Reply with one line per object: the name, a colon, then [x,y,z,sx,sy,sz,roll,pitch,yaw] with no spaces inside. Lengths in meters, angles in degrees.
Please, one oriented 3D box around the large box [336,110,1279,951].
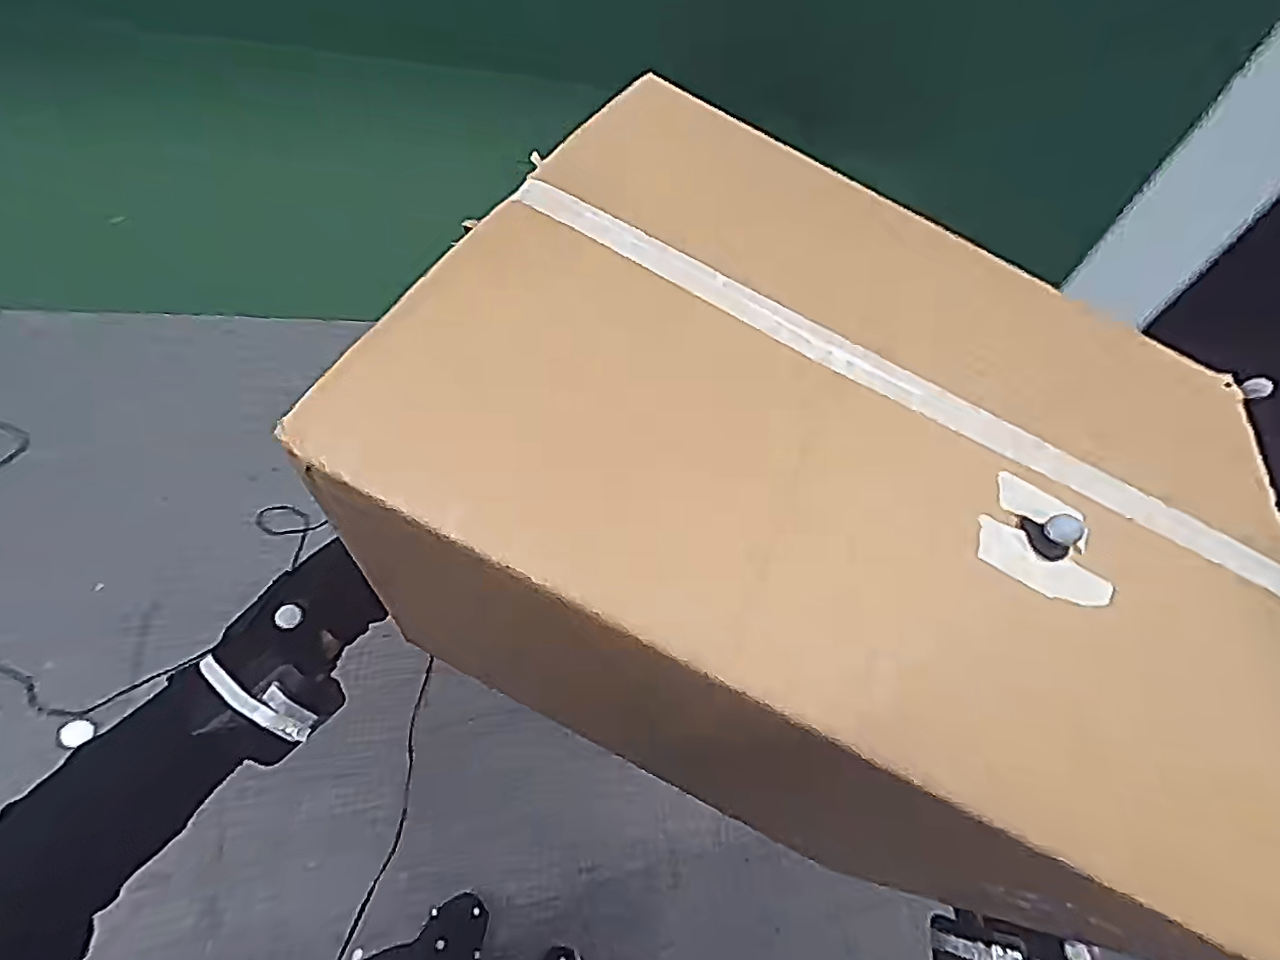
large box: [0.085,0.035,0.394,0.408,0.320,0.320,28,59,-1]
